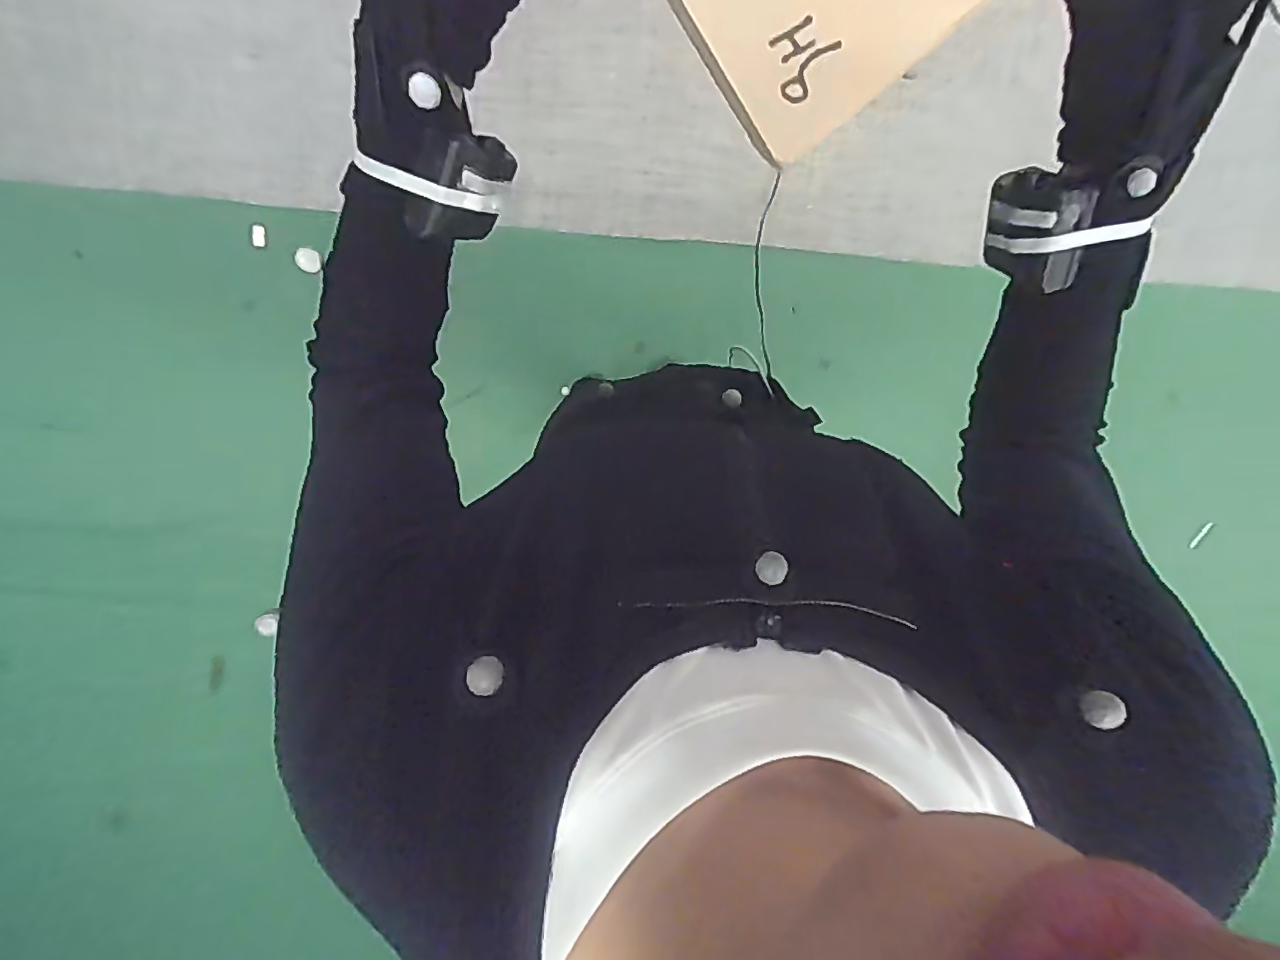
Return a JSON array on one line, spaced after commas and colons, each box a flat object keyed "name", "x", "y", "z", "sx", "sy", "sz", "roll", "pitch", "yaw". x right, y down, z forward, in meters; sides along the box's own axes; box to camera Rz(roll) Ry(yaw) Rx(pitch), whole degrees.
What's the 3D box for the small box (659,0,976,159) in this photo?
[{"name": "small box", "x": 0.085, "y": -0.277, "z": 0.237, "sx": 0.179, "sy": 0.176, "sz": 0.168, "roll": -31, "pitch": 112, "yaw": 24}]
